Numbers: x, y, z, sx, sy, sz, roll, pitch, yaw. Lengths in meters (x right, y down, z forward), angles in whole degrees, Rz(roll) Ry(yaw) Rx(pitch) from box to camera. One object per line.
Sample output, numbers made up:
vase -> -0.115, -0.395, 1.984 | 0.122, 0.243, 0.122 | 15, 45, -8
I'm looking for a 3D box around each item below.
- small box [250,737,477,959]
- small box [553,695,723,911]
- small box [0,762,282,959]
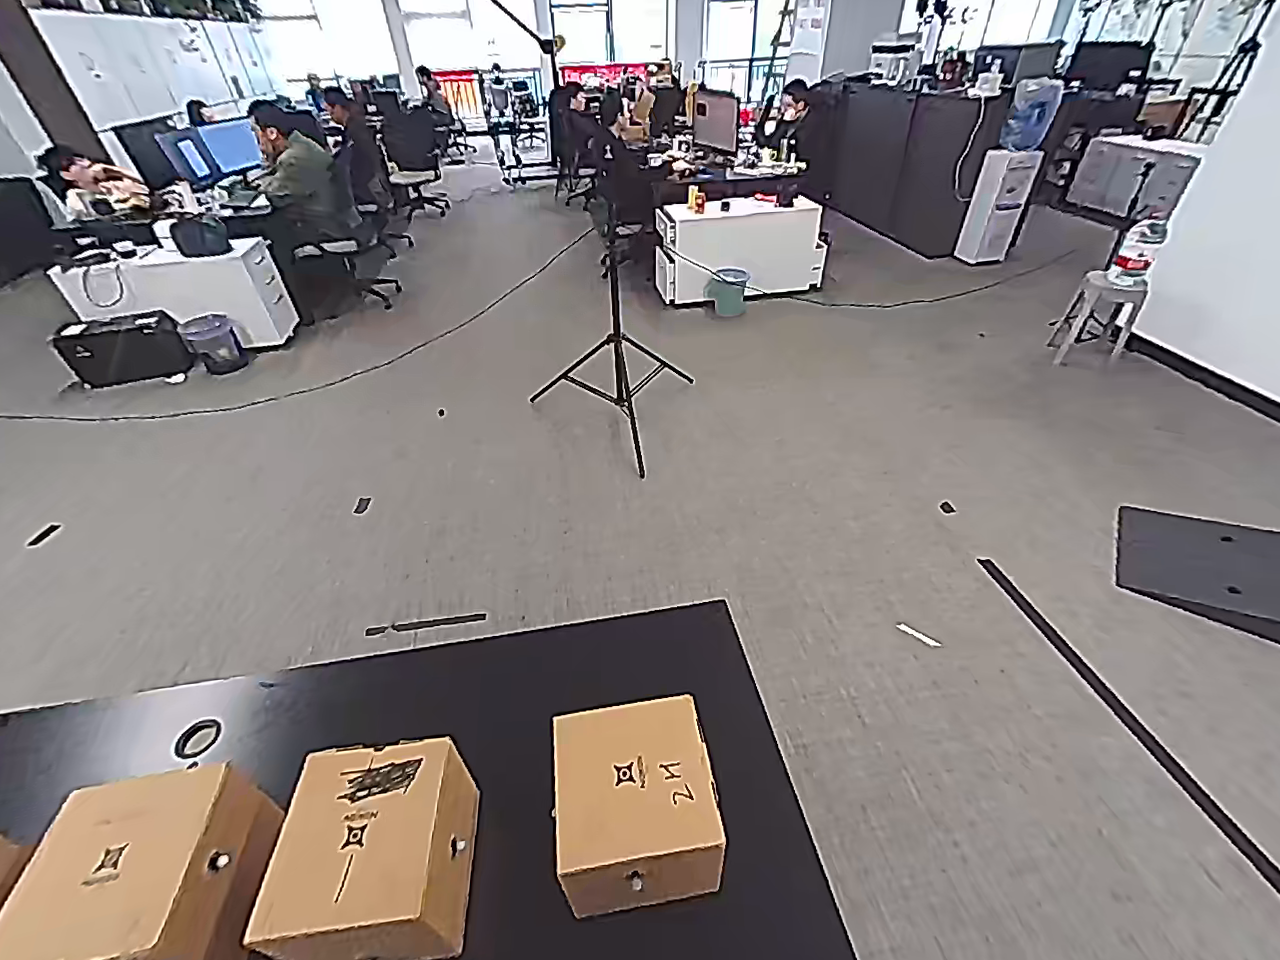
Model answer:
small box -> -0.293, 0.429, 0.625 | 0.168, 0.176, 0.179 | -5, 40, -4
small box -> -0.006, 0.392, 0.658 | 0.179, 0.176, 0.168 | -7, 39, -5
small box -> -0.541, 0.455, 0.606 | 0.168, 0.176, 0.179 | -7, 39, -8
